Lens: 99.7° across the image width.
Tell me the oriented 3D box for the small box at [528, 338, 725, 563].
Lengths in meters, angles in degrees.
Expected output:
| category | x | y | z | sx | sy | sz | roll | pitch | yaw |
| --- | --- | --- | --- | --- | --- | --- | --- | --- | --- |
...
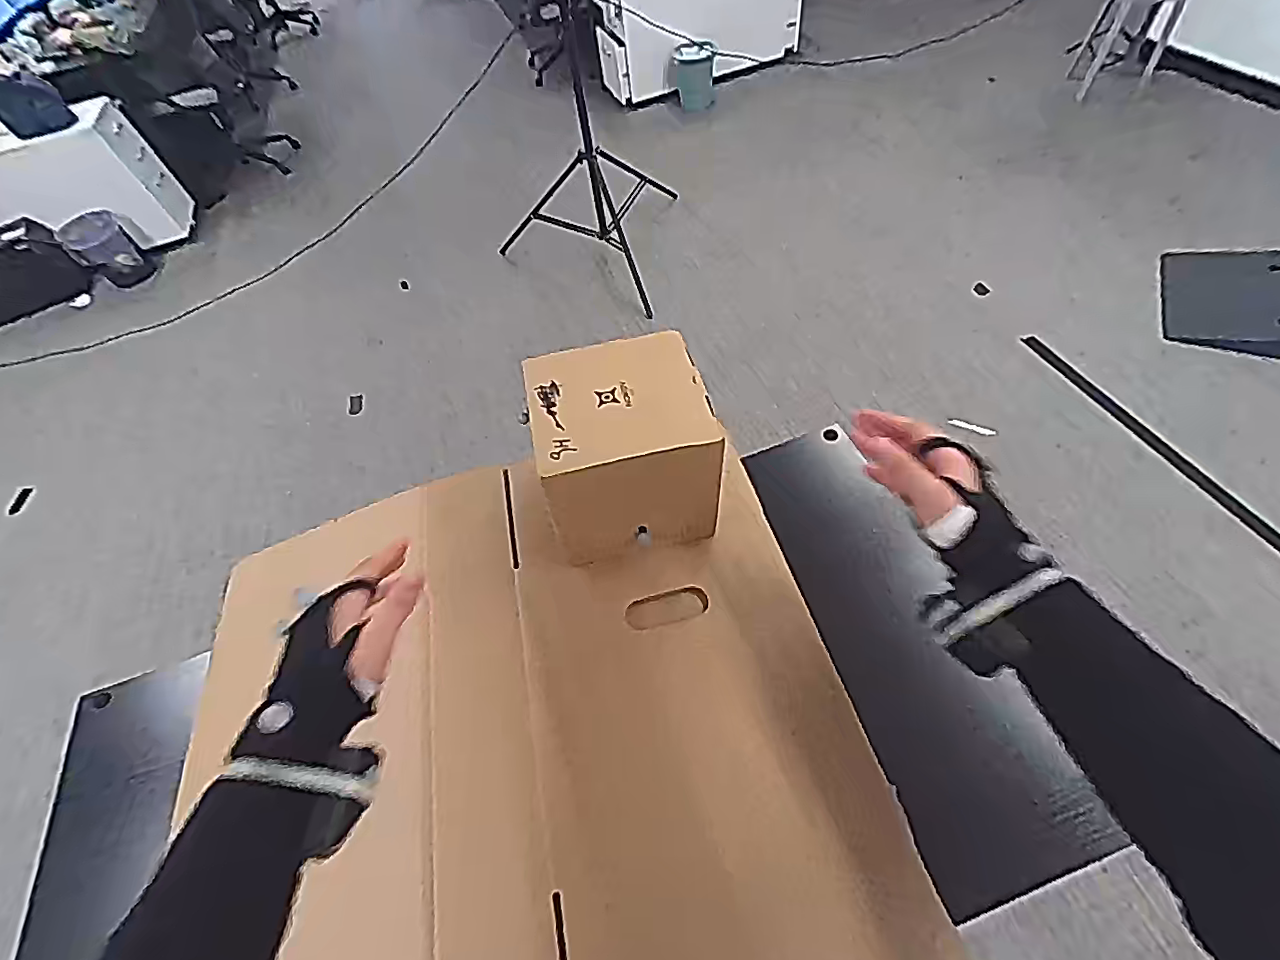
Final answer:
| category | x | y | z | sx | sy | sz | roll | pitch | yaw |
| --- | --- | --- | --- | --- | --- | --- | --- | --- | --- |
| small box | -0.018 | -0.030 | 0.604 | 0.179 | 0.176 | 0.168 | -11 | 52 | -6 |
